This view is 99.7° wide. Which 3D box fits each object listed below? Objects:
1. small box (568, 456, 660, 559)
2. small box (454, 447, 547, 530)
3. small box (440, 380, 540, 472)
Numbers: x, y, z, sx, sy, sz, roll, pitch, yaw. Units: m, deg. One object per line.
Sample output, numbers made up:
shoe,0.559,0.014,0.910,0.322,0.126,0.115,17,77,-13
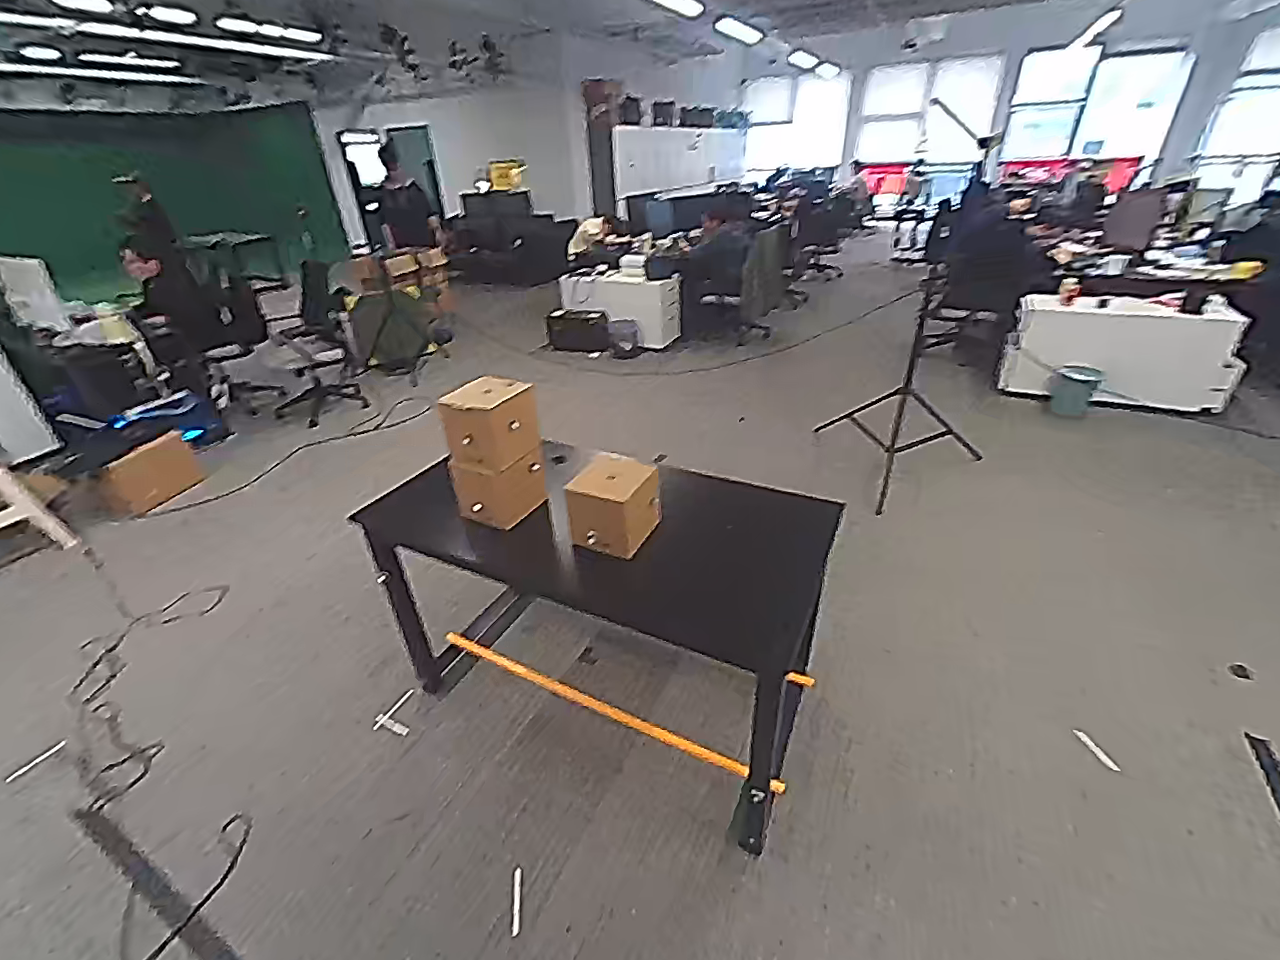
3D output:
small box,-0.057,0.065,1.334,0.168,0.176,0.179,11,34,24
small box,-0.367,0.006,1.457,0.168,0.176,0.179,13,35,26
small box,-0.373,-0.139,1.381,0.168,0.176,0.179,12,35,23
